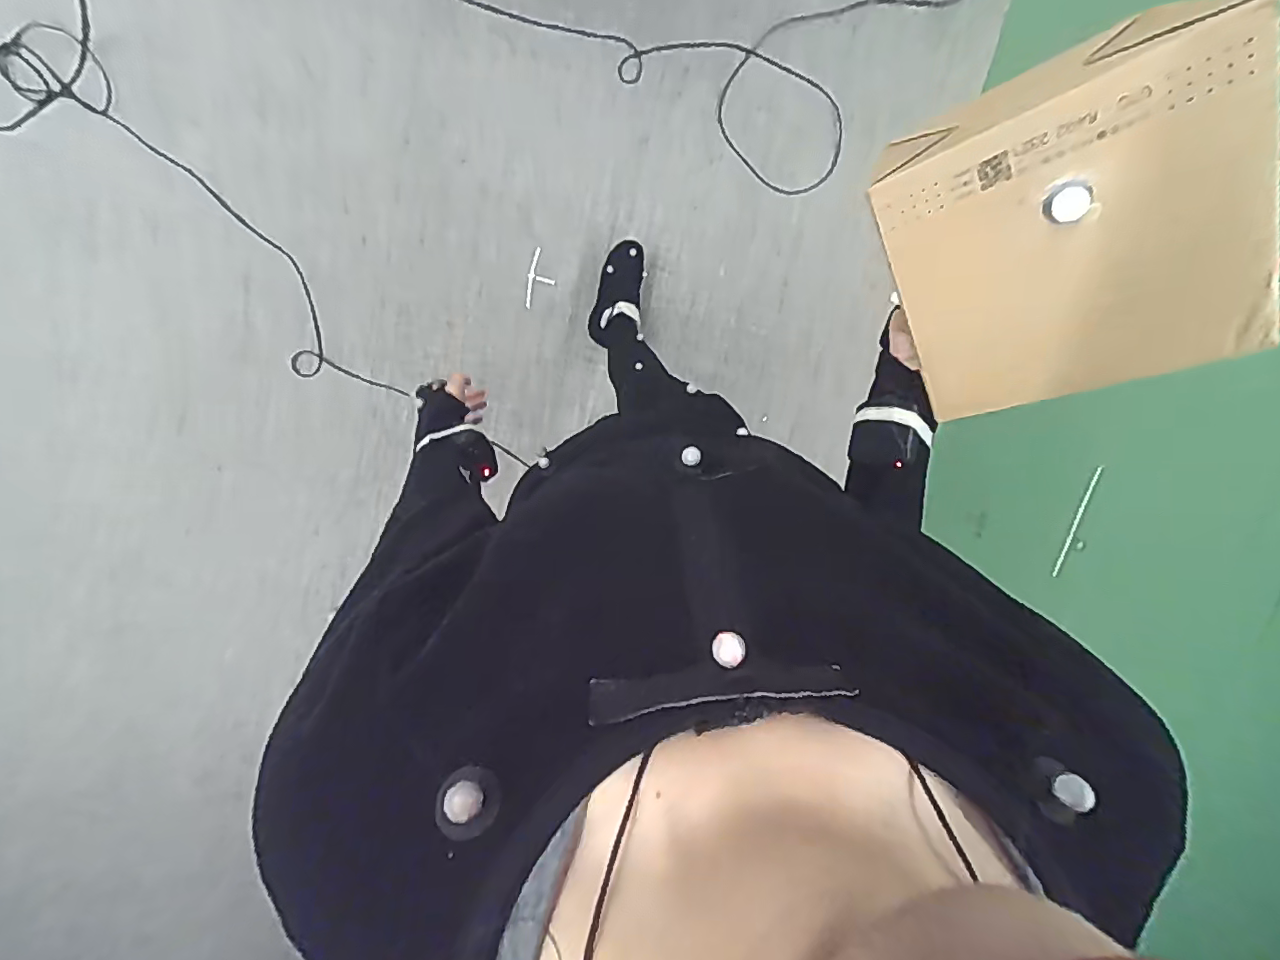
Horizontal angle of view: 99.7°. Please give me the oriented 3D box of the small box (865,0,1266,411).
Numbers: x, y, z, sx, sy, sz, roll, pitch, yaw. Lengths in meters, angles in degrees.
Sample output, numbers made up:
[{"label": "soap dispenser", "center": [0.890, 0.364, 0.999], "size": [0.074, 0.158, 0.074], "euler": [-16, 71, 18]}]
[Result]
[{"label": "small box", "center": [0.264, -0.177, 0.362], "size": [0.168, 0.179, 0.176], "euler": [-14, 117, 36]}]
